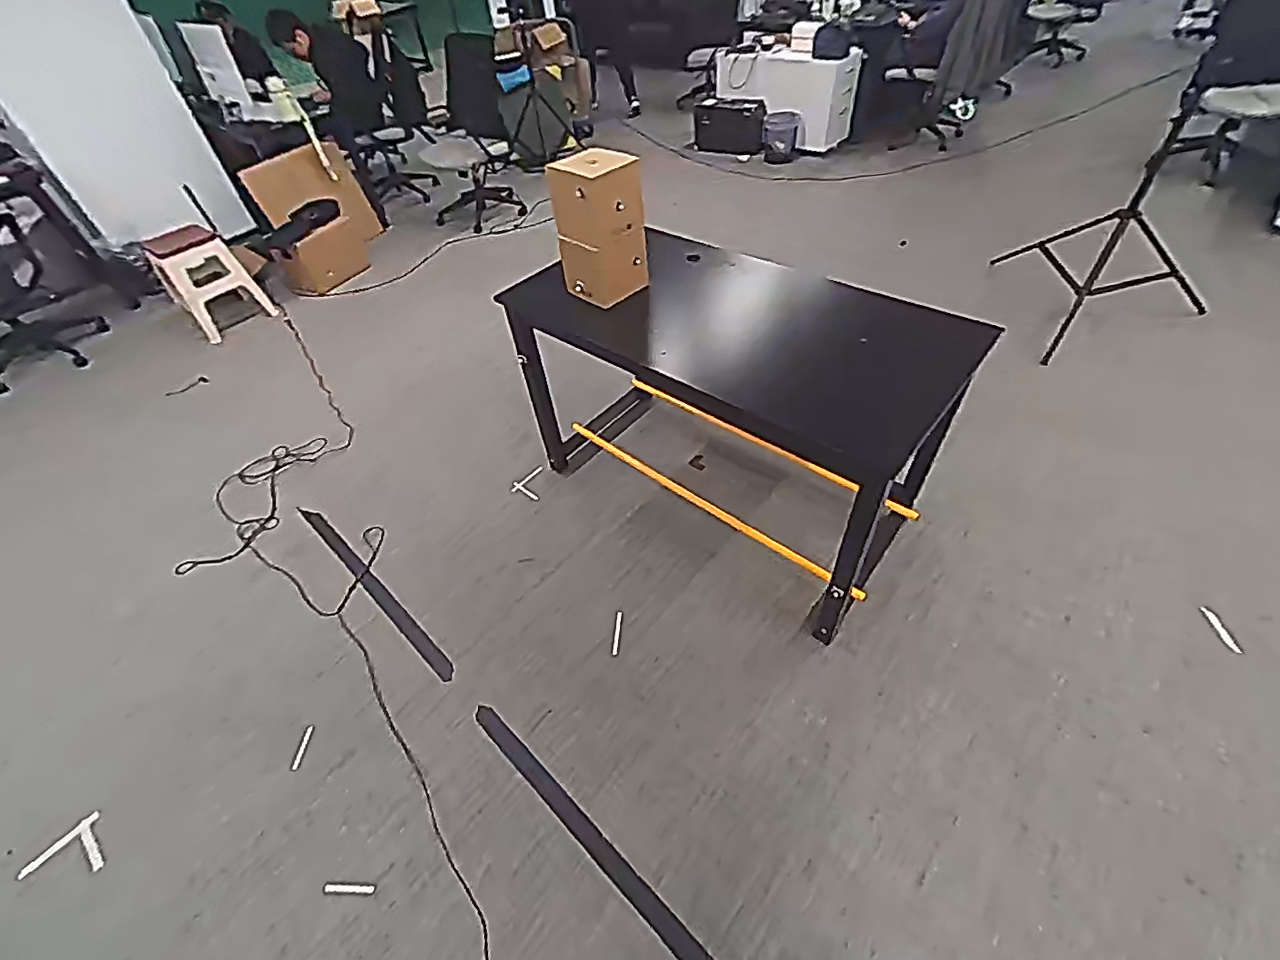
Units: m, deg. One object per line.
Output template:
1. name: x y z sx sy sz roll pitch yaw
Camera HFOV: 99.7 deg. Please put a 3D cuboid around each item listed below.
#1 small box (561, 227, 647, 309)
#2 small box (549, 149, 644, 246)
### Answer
1. small box: -0.092 -0.606 1.506 0.168 0.176 0.179 33 59 32
2. small box: -0.105 -0.724 1.391 0.179 0.176 0.168 33 58 32
